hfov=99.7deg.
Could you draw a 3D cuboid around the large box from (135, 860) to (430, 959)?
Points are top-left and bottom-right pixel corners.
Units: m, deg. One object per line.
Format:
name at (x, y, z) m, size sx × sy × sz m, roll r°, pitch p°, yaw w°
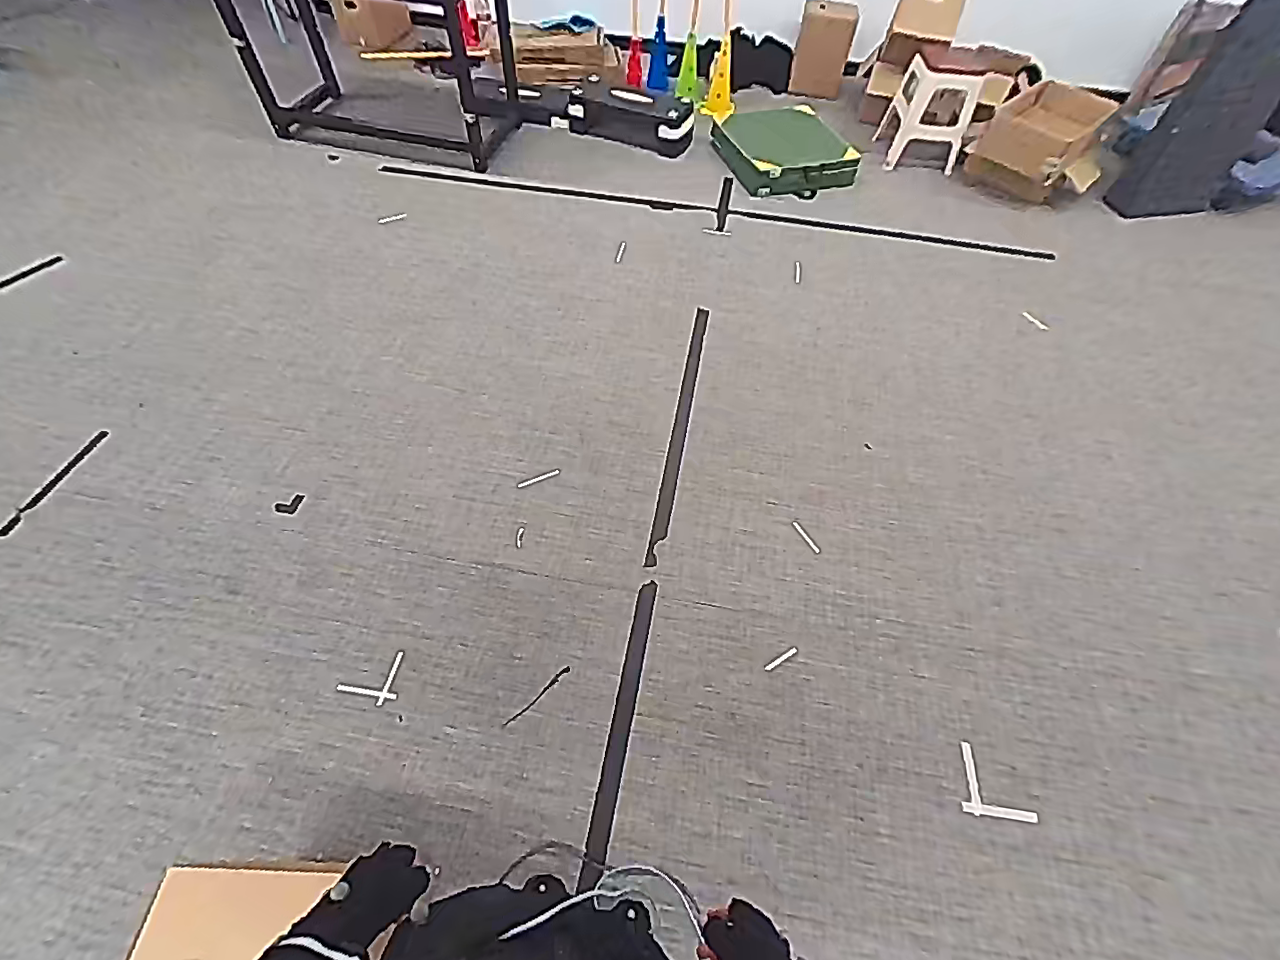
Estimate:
large box at (-0.602, 0.854, 0.929) m, size 0.320 × 0.408 × 0.320 m, roll 4°, pitch 56°, yaw -1°
